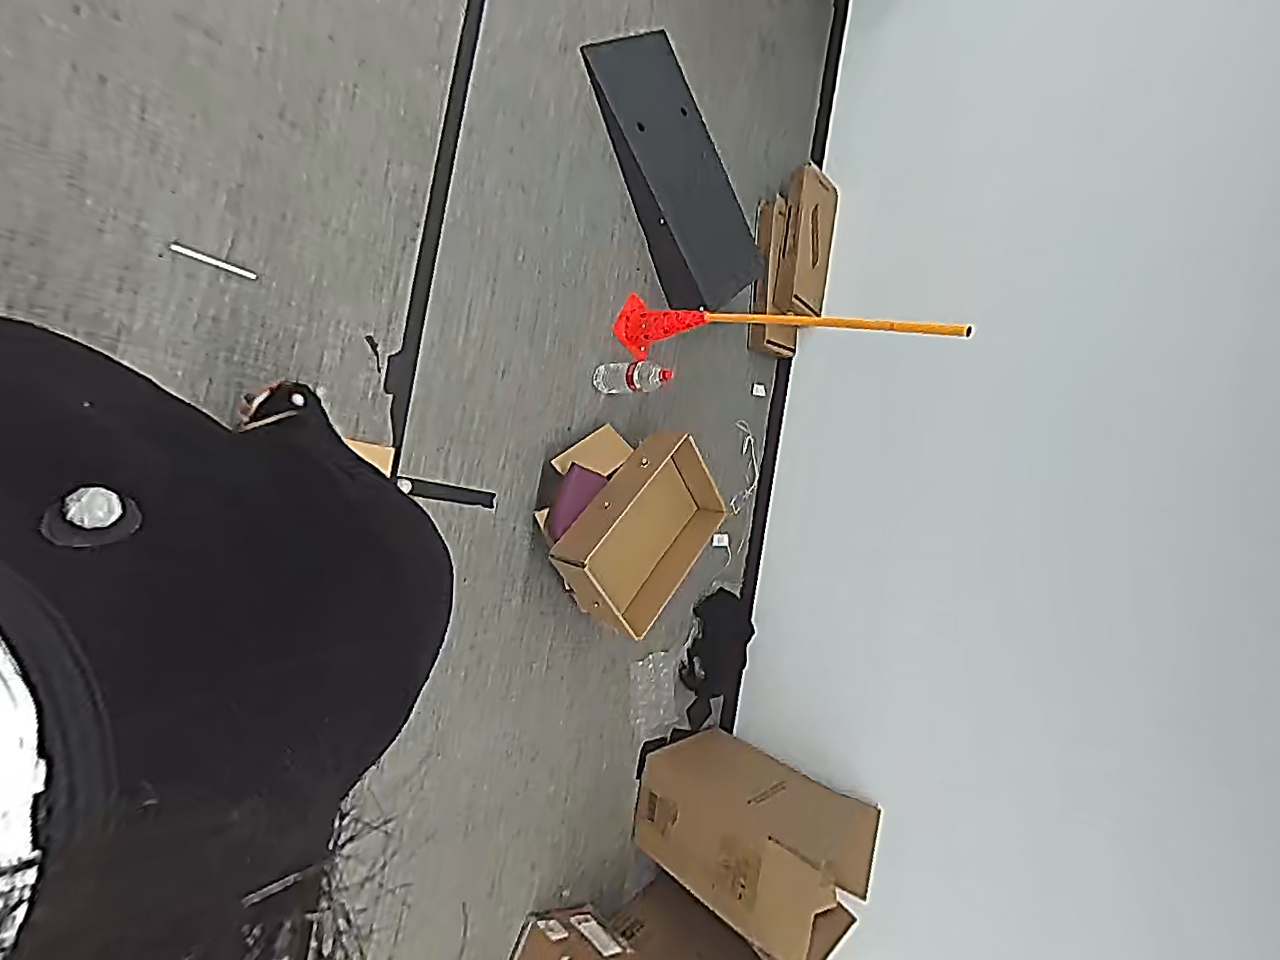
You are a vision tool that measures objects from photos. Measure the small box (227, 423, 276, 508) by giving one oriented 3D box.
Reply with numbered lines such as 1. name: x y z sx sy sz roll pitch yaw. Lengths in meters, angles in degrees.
1. small box: -0.721 -0.022 1.120 0.179 0.176 0.168 14 85 -46

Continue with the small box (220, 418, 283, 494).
1. small box: -0.835 -0.038 1.237 0.168 0.176 0.179 14 85 -46

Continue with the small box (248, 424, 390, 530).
1. small box: -0.603 -0.006 1.010 0.179 0.176 0.168 13 87 -47
